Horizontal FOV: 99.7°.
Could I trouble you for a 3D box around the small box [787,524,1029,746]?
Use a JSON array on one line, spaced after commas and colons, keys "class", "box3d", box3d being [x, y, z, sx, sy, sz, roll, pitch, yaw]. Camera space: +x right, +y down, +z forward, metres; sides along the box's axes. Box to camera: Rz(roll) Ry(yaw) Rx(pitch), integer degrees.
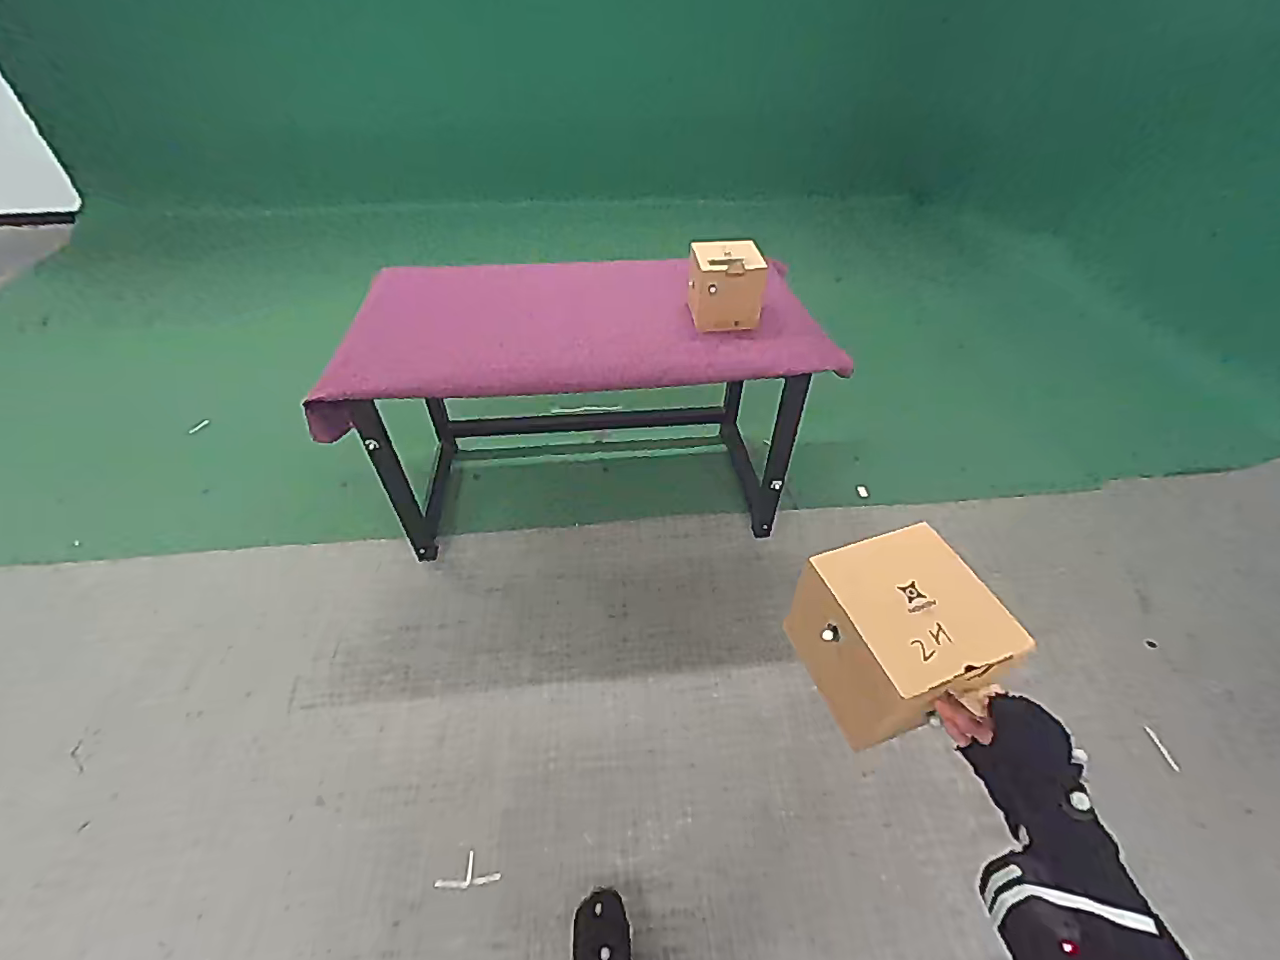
[{"class": "small box", "box3d": [0.298, 0.186, 0.652, 0.168, 0.176, 0.179, -15, 49, -12]}]
